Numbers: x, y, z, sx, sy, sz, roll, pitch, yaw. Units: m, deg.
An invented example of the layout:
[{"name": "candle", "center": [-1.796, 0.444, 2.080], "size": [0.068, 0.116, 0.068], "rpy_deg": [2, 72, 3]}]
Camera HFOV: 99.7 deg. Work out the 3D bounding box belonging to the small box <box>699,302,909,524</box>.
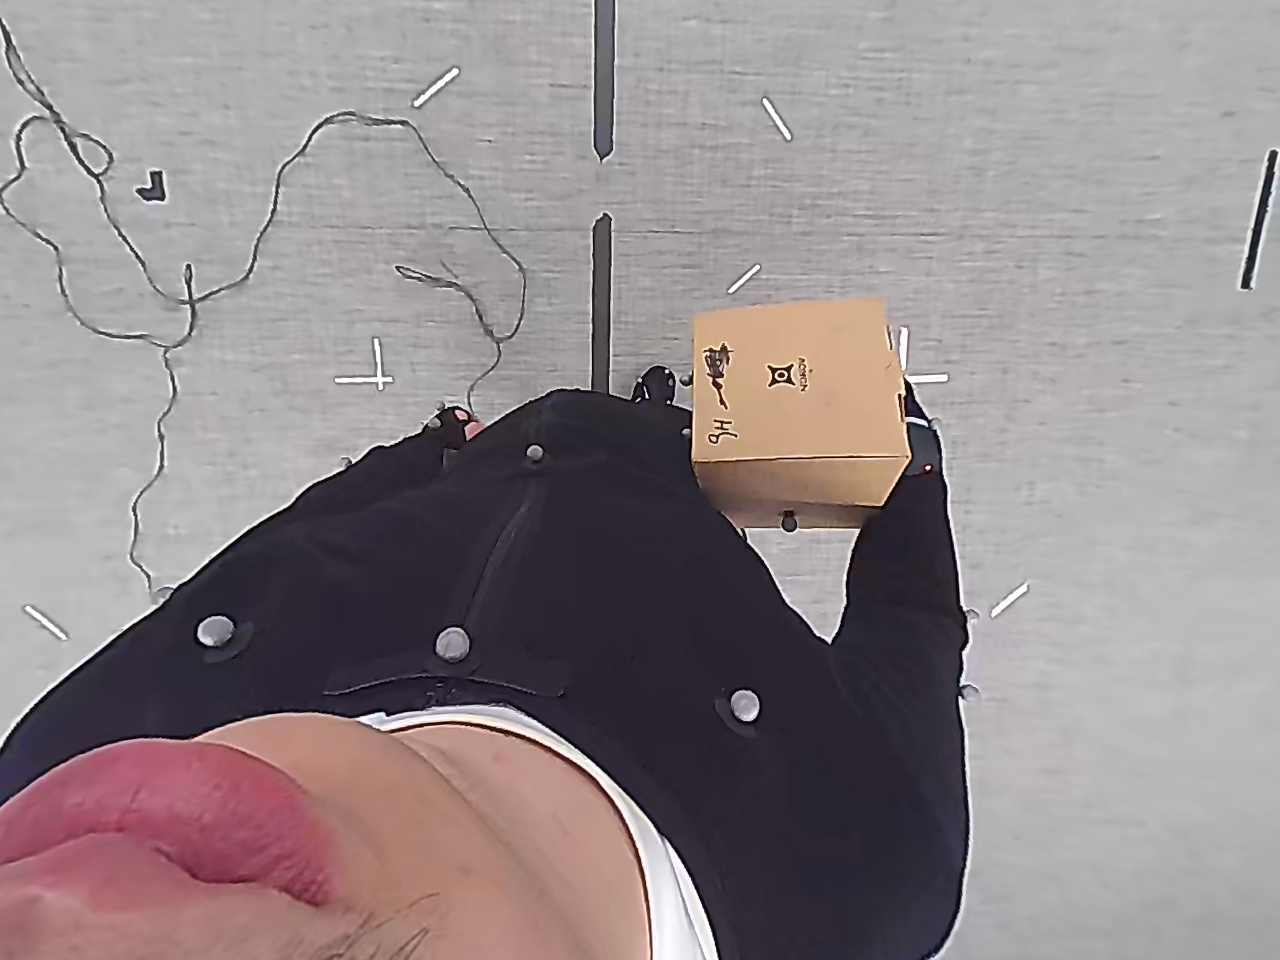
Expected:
[{"name": "small box", "center": [0.155, -0.060, 0.562], "size": [0.179, 0.176, 0.168], "rpy_deg": [-1, 64, 10]}]
